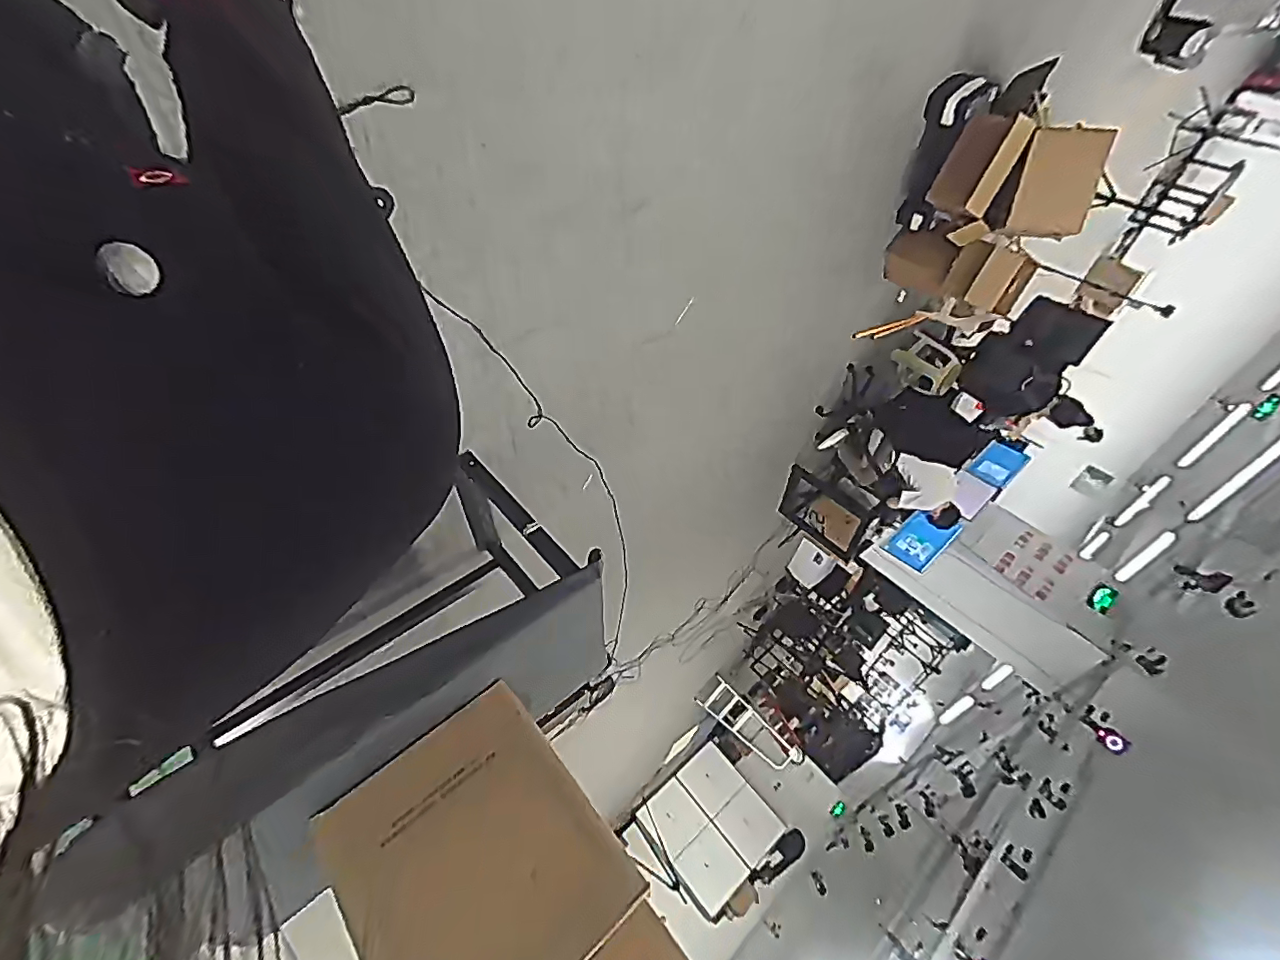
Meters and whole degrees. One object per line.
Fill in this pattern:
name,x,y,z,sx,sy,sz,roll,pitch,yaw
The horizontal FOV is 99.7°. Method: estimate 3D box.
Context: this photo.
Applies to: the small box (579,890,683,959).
small box,-0.020,1.053,1.183,0.179,0.176,0.168,-34,145,-24
